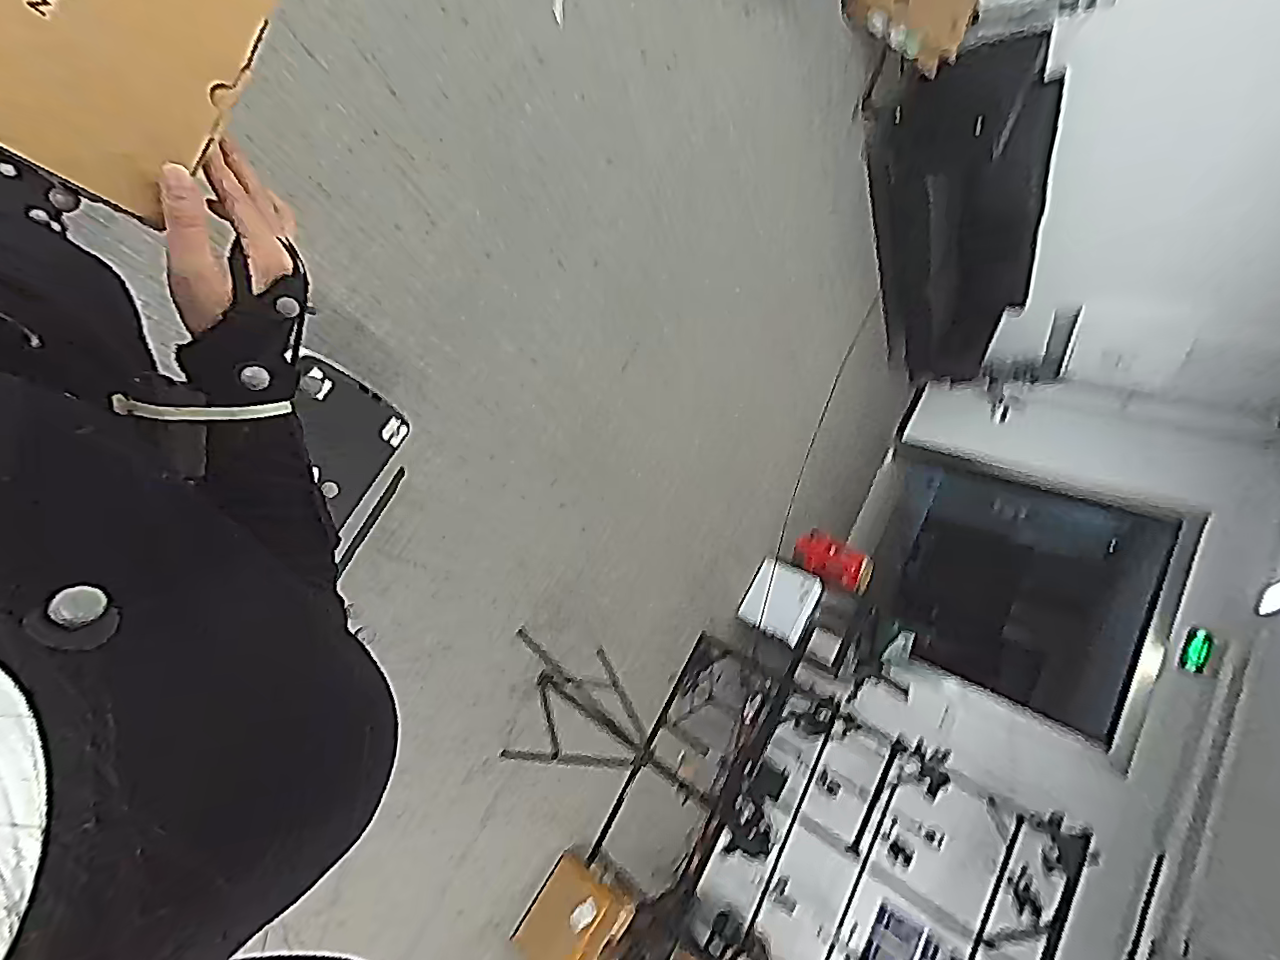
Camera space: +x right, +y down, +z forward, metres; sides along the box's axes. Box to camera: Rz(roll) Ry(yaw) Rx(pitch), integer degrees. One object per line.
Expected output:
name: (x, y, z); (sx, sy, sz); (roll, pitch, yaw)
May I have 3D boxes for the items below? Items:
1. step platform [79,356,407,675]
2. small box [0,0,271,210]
step platform: (-0.826, 0.076, 1.184); (0.684, 0.204, 0.286); (-61, 145, -13)
small box: (-0.335, -0.272, 0.285); (0.179, 0.176, 0.168); (24, 93, -53)
